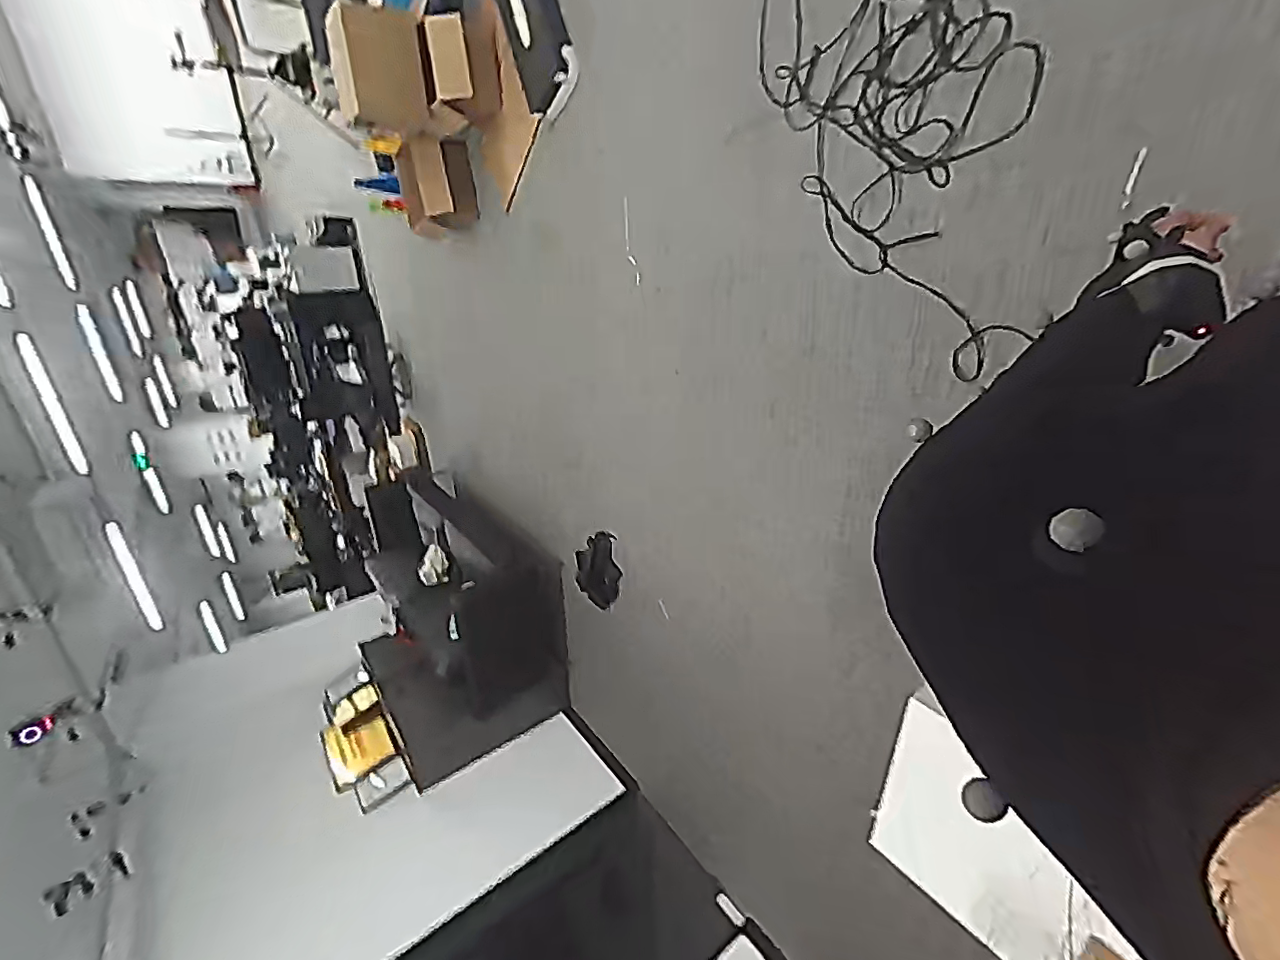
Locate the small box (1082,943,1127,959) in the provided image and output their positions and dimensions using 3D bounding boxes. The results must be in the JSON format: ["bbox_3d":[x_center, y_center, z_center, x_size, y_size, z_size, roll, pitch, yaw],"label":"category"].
[{"bbox_3d":[0.635,0.777,0.705,0.168,0.176,0.179,30,126,47],"label":"small box"}]
